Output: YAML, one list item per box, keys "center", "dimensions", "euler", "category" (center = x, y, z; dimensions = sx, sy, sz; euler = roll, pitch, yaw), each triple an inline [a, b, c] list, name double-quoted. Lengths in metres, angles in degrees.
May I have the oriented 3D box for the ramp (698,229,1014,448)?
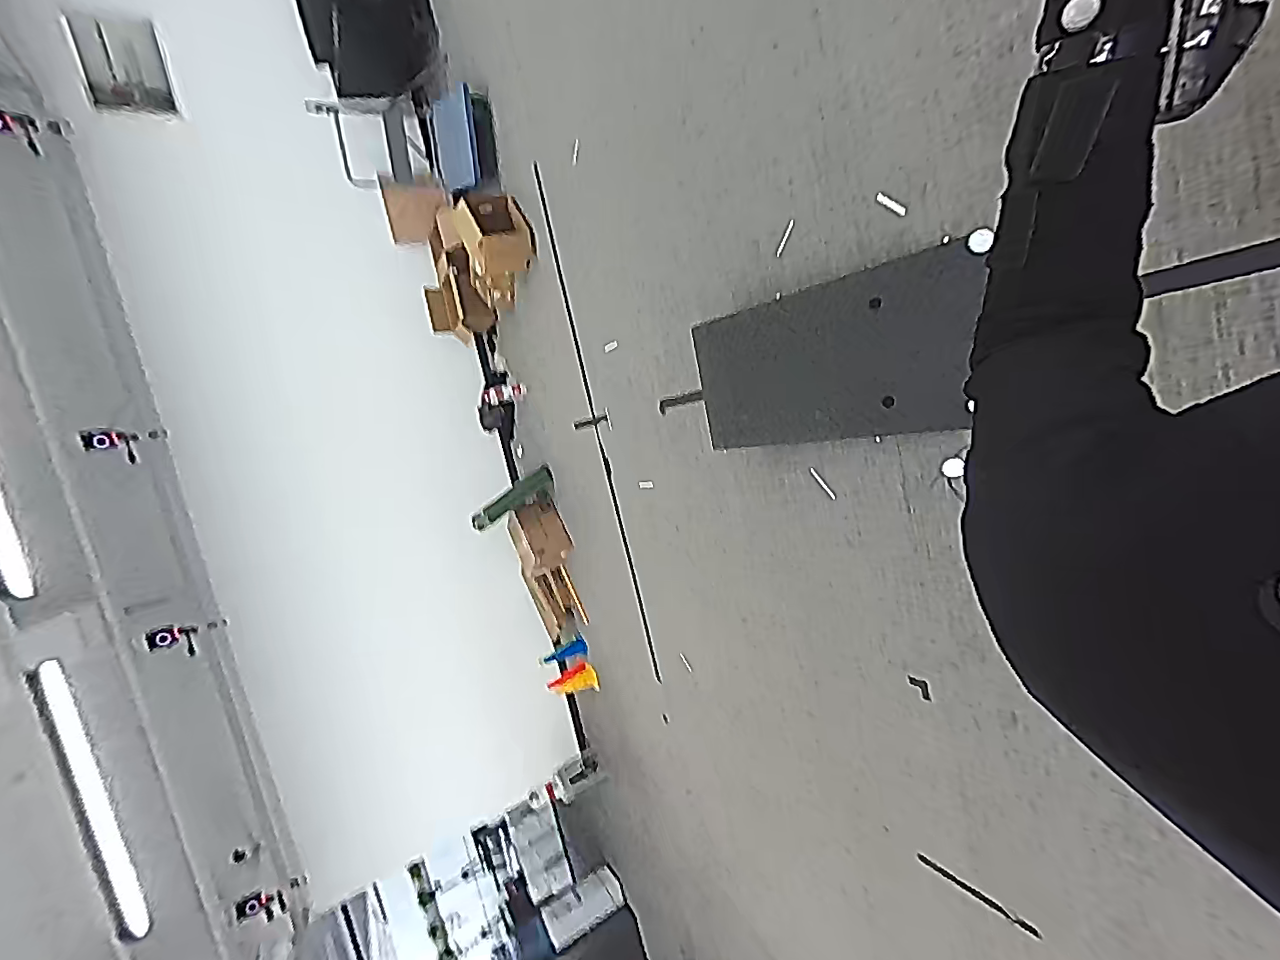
- center: [0.593, -0.375, 1.731]
  dimensions: [0.991, 0.206, 0.509]
  euler: [-1, 102, 60]
  category: "ramp"
